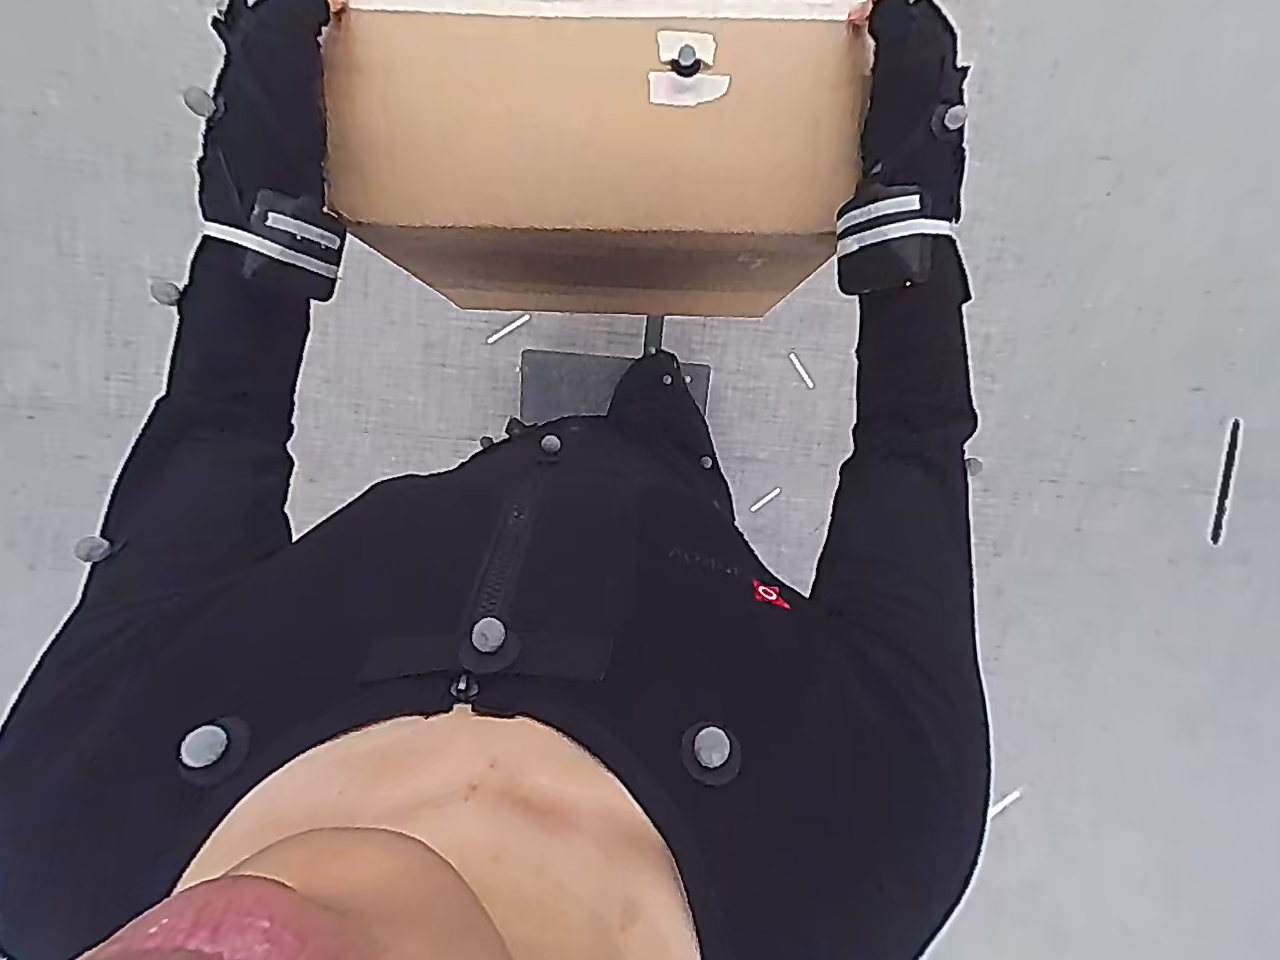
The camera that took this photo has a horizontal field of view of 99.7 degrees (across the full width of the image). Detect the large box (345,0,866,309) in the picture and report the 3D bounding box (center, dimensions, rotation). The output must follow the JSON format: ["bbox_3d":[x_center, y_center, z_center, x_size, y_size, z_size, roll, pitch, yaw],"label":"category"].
[{"bbox_3d":[-0.028,-0.368,0.560,0.408,0.320,0.320,1,96,-1],"label":"large box"}]
